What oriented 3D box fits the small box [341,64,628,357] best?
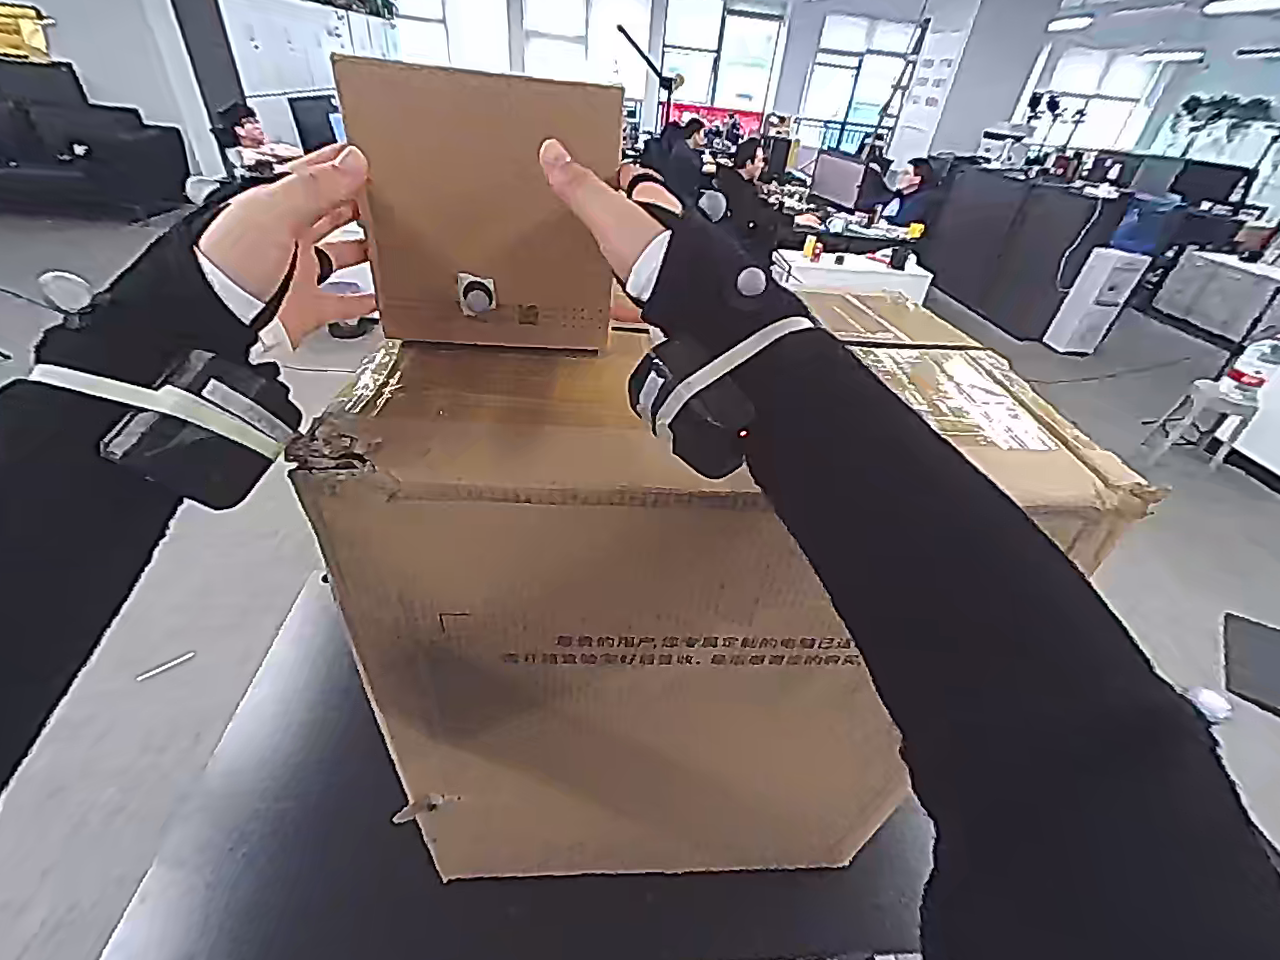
[{"bbox_3d":[-0.104,-0.208,0.424,0.168,0.176,0.179,-2,36,-9],"label":"small box"}]
